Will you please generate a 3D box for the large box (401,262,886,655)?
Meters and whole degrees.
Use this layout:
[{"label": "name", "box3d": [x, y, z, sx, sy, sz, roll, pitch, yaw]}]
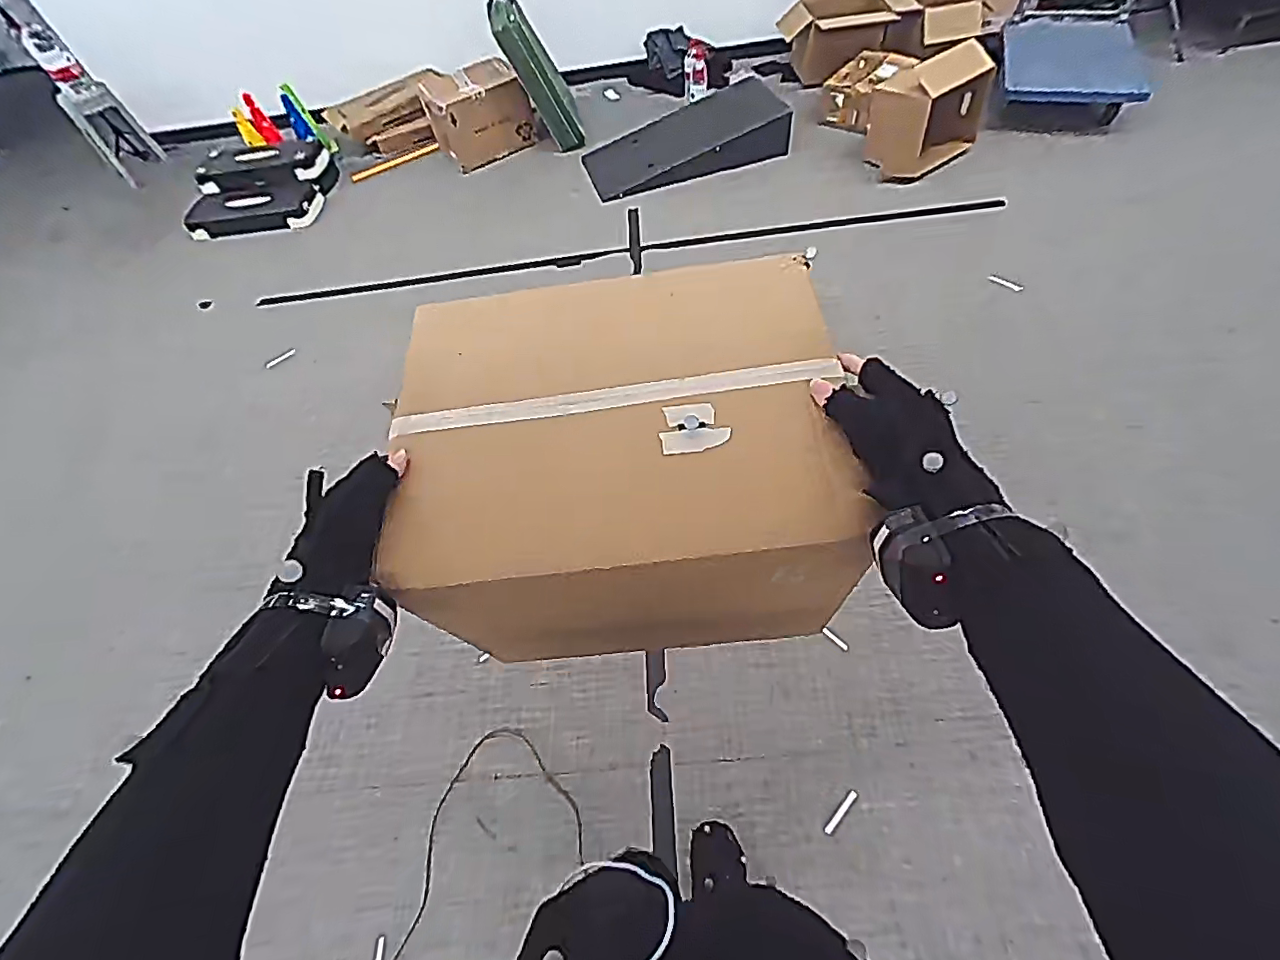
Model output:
[{"label": "large box", "box3d": [0.000, -0.002, 0.633, 0.408, 0.320, 0.320, -7, 62, 3]}]
